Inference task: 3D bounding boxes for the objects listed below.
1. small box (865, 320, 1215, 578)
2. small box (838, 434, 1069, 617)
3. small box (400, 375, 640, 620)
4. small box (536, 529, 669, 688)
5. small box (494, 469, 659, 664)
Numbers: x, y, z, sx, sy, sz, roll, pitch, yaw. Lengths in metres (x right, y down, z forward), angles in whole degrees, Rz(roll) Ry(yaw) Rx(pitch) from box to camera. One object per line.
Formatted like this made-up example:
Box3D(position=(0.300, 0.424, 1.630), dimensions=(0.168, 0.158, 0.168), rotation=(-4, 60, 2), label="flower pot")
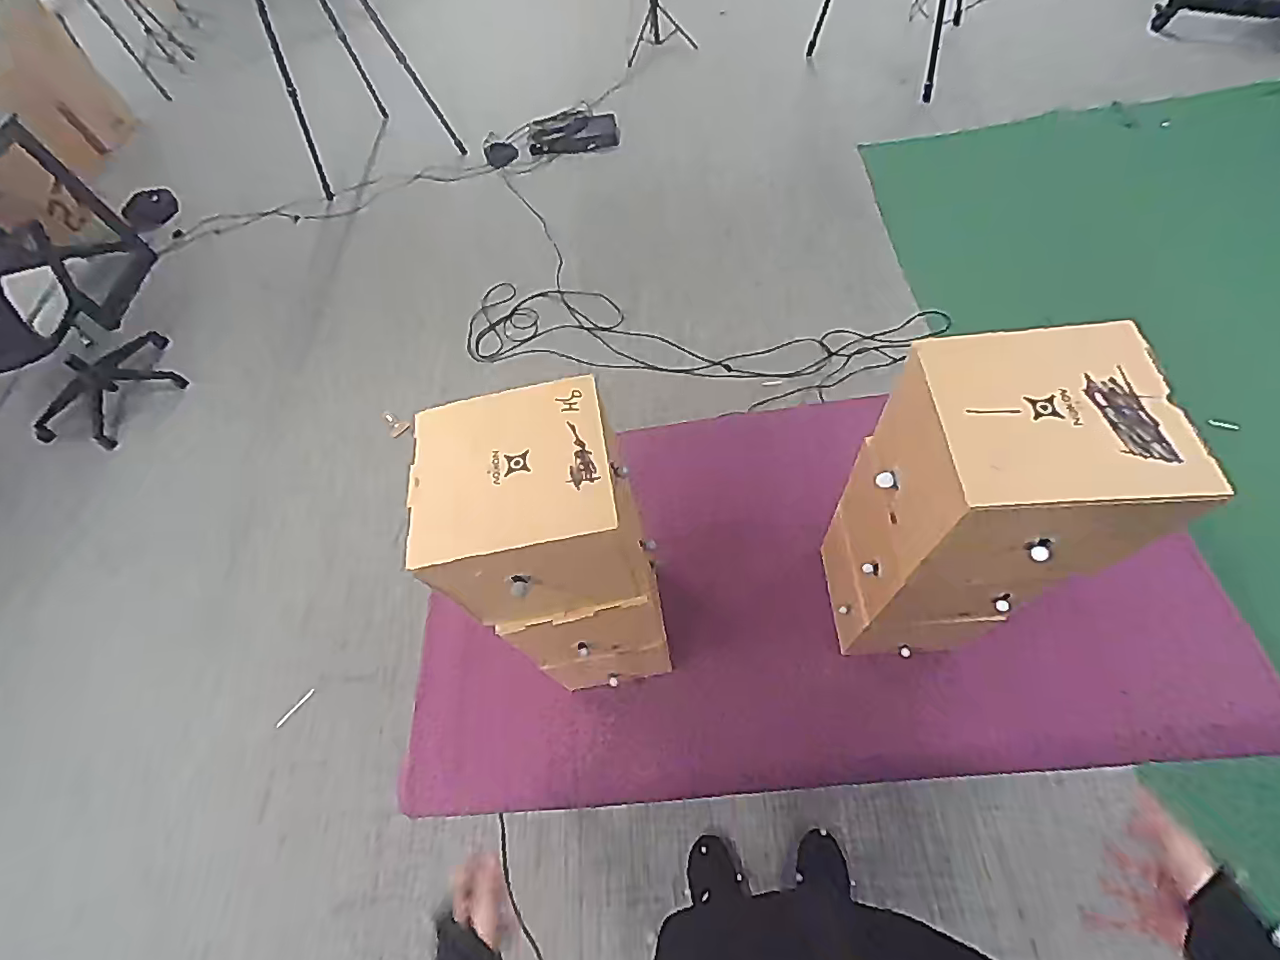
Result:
Box3D(position=(0.324, -0.017, 0.489), dimensions=(0.179, 0.176, 0.168), rotation=(-4, 60, 8), label="small box")
Box3D(position=(0.344, 0.056, 0.634), dimensions=(0.168, 0.176, 0.179), rotation=(-5, 59, 6), label="small box")
Box3D(position=(-0.108, 0.028, 0.539), dimensions=(0.179, 0.176, 0.168), rotation=(-12, 59, 3), label="small box")
Box3D(position=(-0.056, 0.197, 0.813), dimensions=(0.168, 0.176, 0.179), rotation=(-12, 59, 3), label="small box")
Box3D(position=(-0.077, 0.112, 0.677), dimensions=(0.168, 0.176, 0.179), rotation=(-13, 59, 1), label="small box")
